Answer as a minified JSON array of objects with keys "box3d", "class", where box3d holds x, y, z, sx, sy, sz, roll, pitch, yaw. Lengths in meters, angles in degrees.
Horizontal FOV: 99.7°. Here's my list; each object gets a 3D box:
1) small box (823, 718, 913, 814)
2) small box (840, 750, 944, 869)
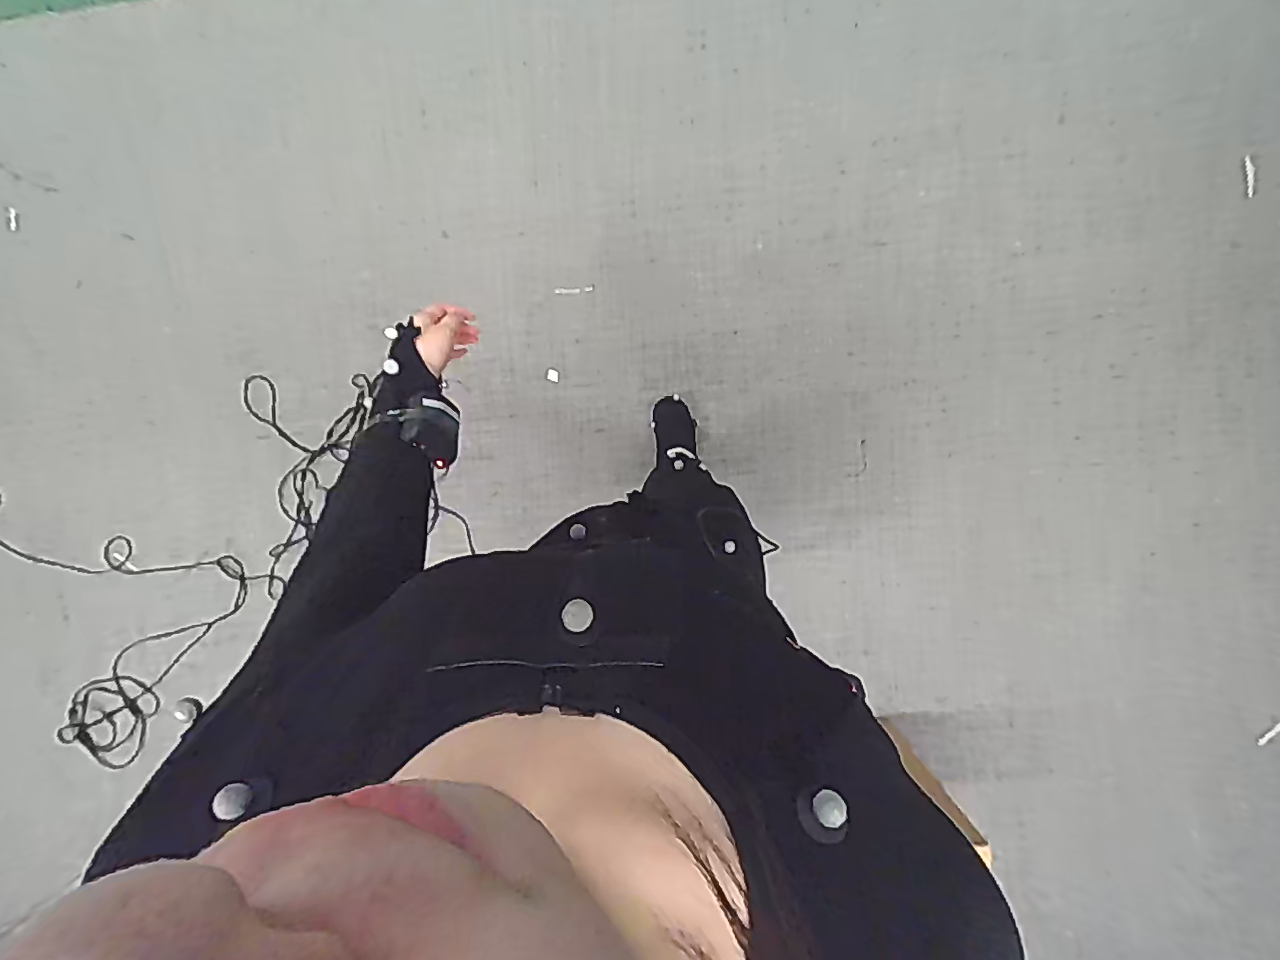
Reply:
[{"box3d":[0.574,0.724,1.377,0.179,0.176,0.168,-3,91,3],"class":"small box"},{"box3d":[0.557,0.728,1.213,0.168,0.176,0.179,-3,91,5],"class":"small box"}]
